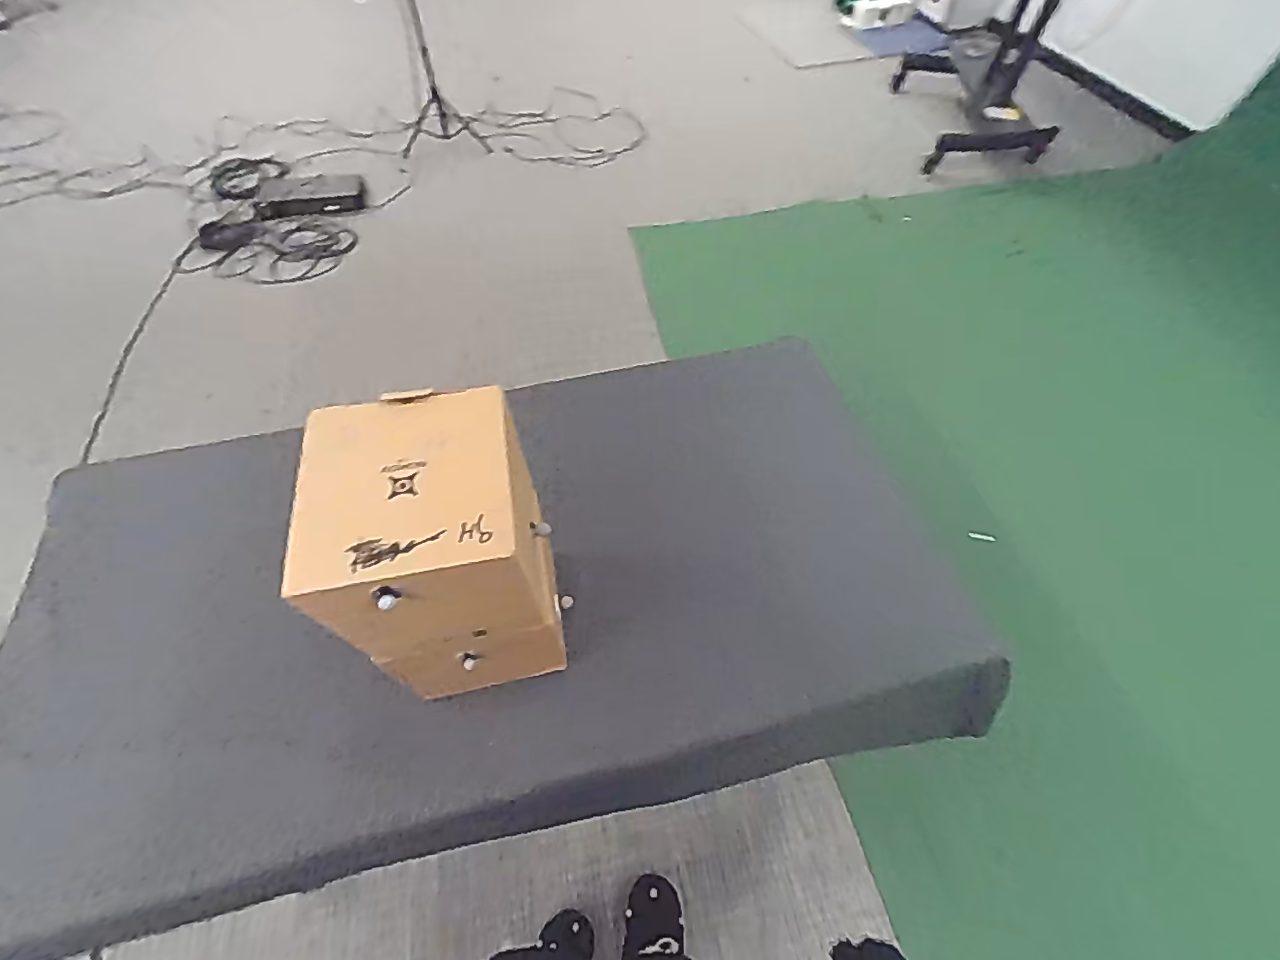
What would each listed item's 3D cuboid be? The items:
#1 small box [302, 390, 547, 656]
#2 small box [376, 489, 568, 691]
[{"bbox_3d":[-0.188,0.044,0.513,0.168,0.176,0.179,-11,58,-9],"label":"small box"},{"bbox_3d":[-0.191,0.136,0.645,0.179,0.176,0.168,-10,57,-8],"label":"small box"}]
